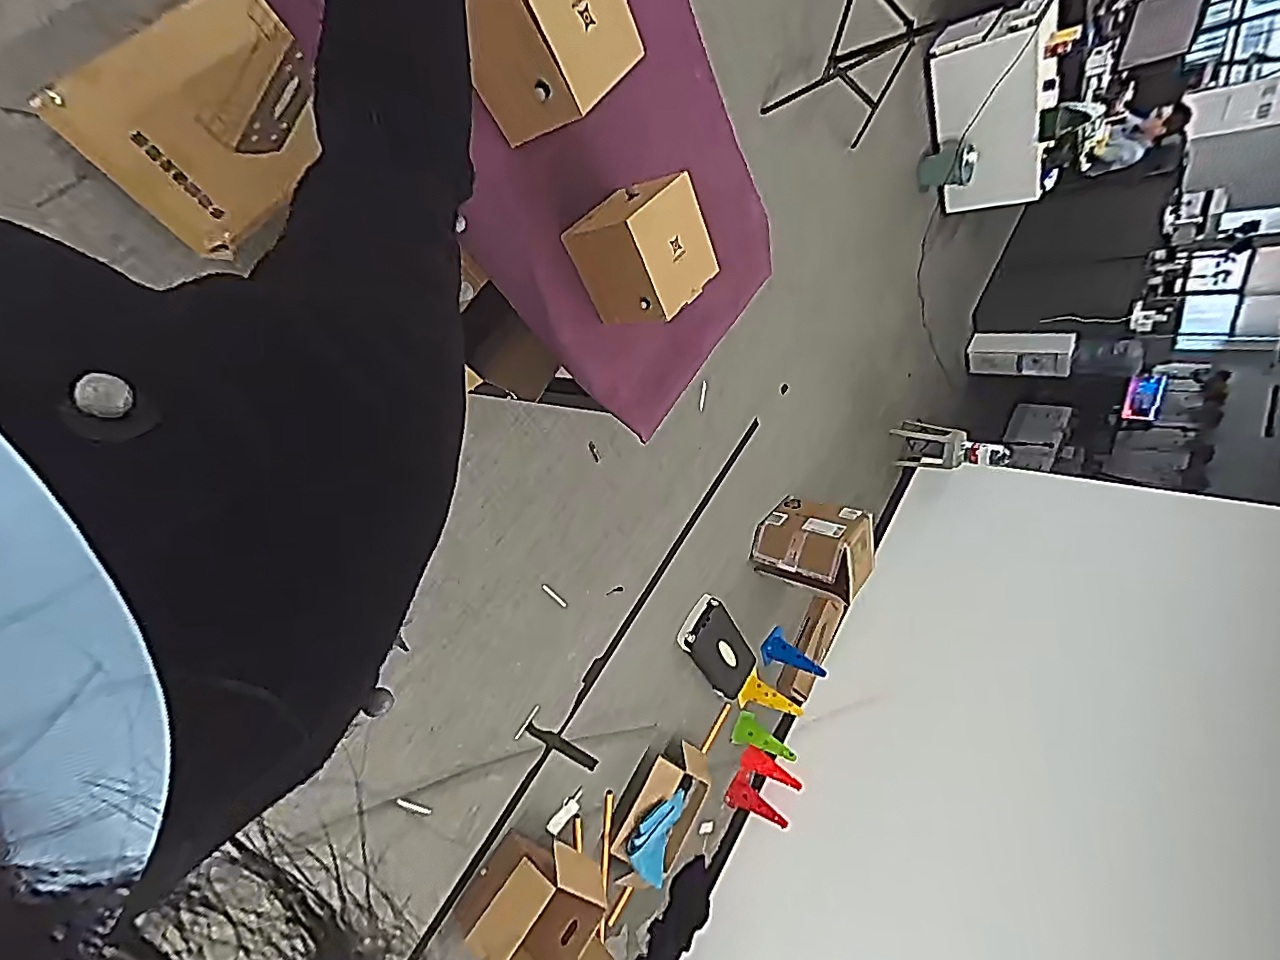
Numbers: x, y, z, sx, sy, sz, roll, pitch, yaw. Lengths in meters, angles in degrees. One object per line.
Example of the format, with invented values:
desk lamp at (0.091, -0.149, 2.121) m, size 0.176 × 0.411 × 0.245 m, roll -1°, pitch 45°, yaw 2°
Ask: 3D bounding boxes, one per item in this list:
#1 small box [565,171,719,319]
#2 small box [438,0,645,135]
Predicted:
small box at (0.003, -0.393, 0.932) m, size 0.168 × 0.176 × 0.179 m, roll -50°, pitch 132°, yaw -25°
small box at (-0.130, -0.602, 0.732) m, size 0.168 × 0.176 × 0.179 m, roll -58°, pitch 134°, yaw -21°
